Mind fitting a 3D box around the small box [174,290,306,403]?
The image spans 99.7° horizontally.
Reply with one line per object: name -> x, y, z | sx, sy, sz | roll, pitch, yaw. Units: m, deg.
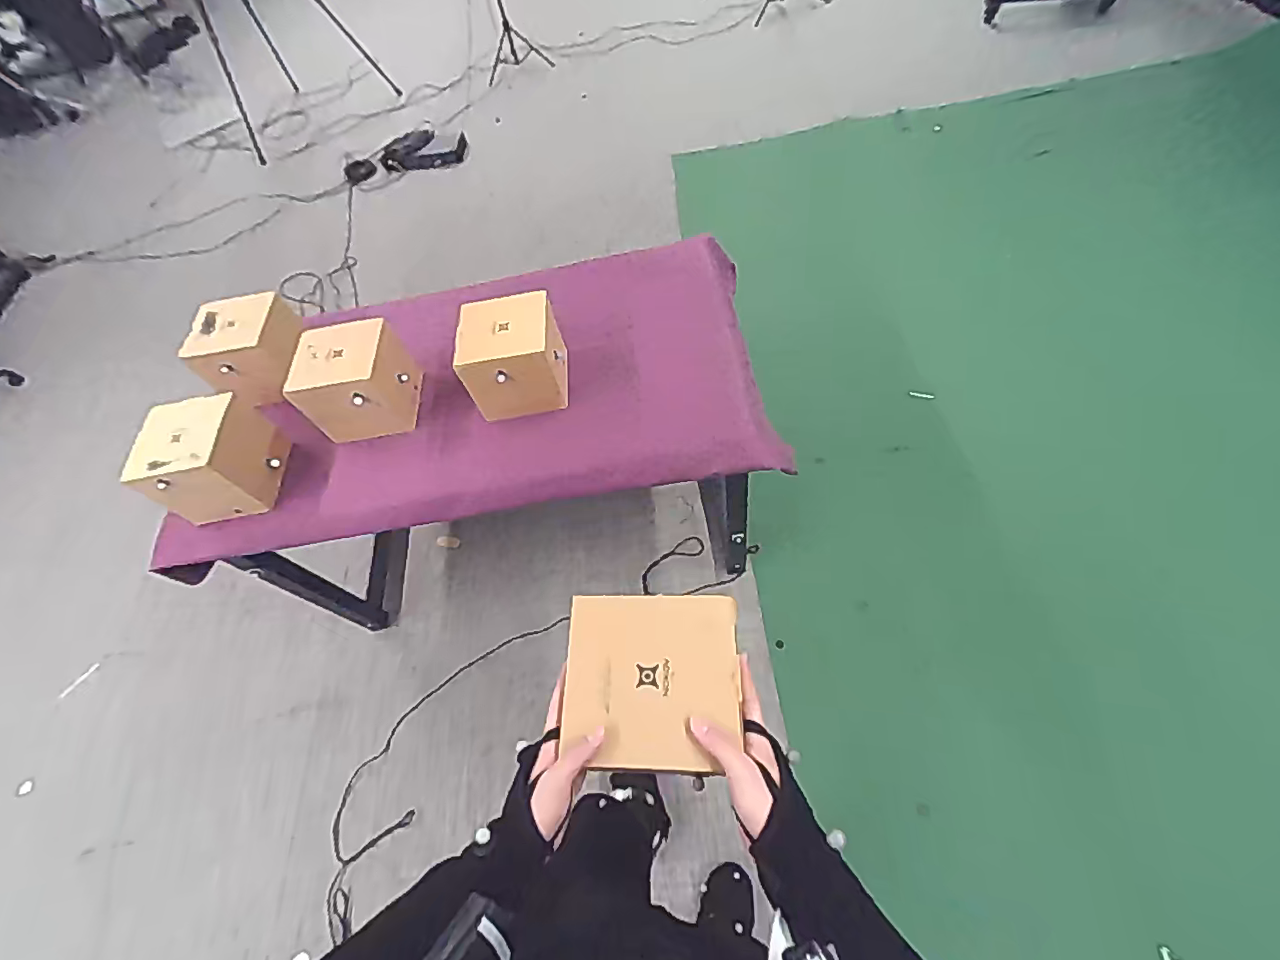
small box -> -0.854, -0.288, 1.195 | 0.179, 0.176, 0.168 | -8, 59, 3

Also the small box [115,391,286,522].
small box -> -0.827, -0.041, 1.043 | 0.168, 0.176, 0.179 | -10, 57, 3

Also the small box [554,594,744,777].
small box -> 0.018, 0.231, 0.598 | 0.179, 0.176, 0.168 | -1, 60, 7

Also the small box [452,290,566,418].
small box -> -0.248, -0.243, 1.072 | 0.179, 0.176, 0.168 | -9, 59, 5

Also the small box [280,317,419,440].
small box -> -0.574, -0.201, 1.097 | 0.179, 0.176, 0.168 | -8, 58, 4
